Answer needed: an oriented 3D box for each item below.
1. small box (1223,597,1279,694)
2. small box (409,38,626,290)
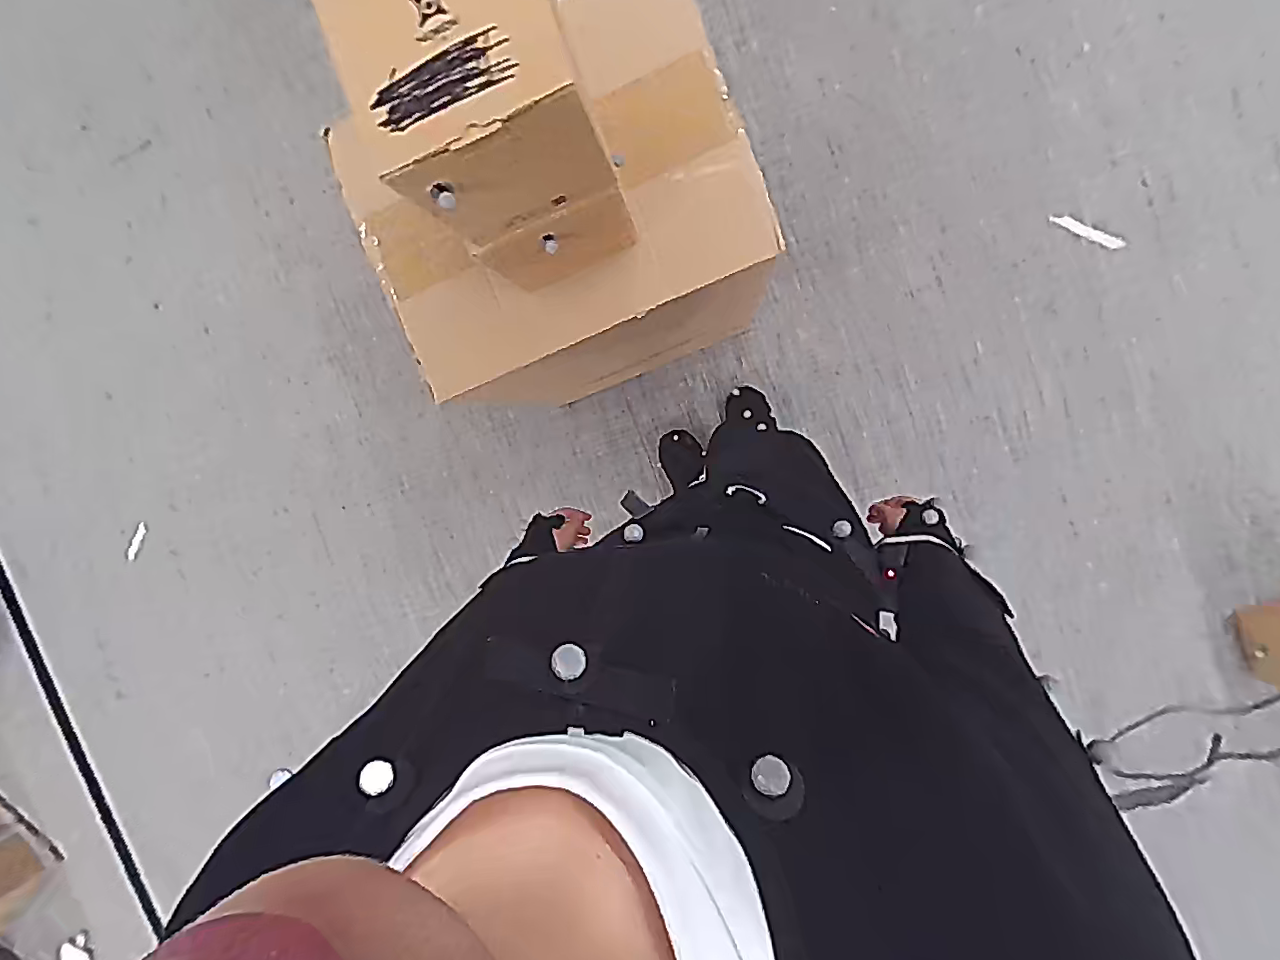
[{"bbox_3d":[1.424,0.356,1.146,0.179,0.176,0.168,-20,93,10],"label":"small box"},{"bbox_3d":[-0.124,-0.347,0.634,0.179,0.176,0.168,-21,94,10],"label":"small box"}]
